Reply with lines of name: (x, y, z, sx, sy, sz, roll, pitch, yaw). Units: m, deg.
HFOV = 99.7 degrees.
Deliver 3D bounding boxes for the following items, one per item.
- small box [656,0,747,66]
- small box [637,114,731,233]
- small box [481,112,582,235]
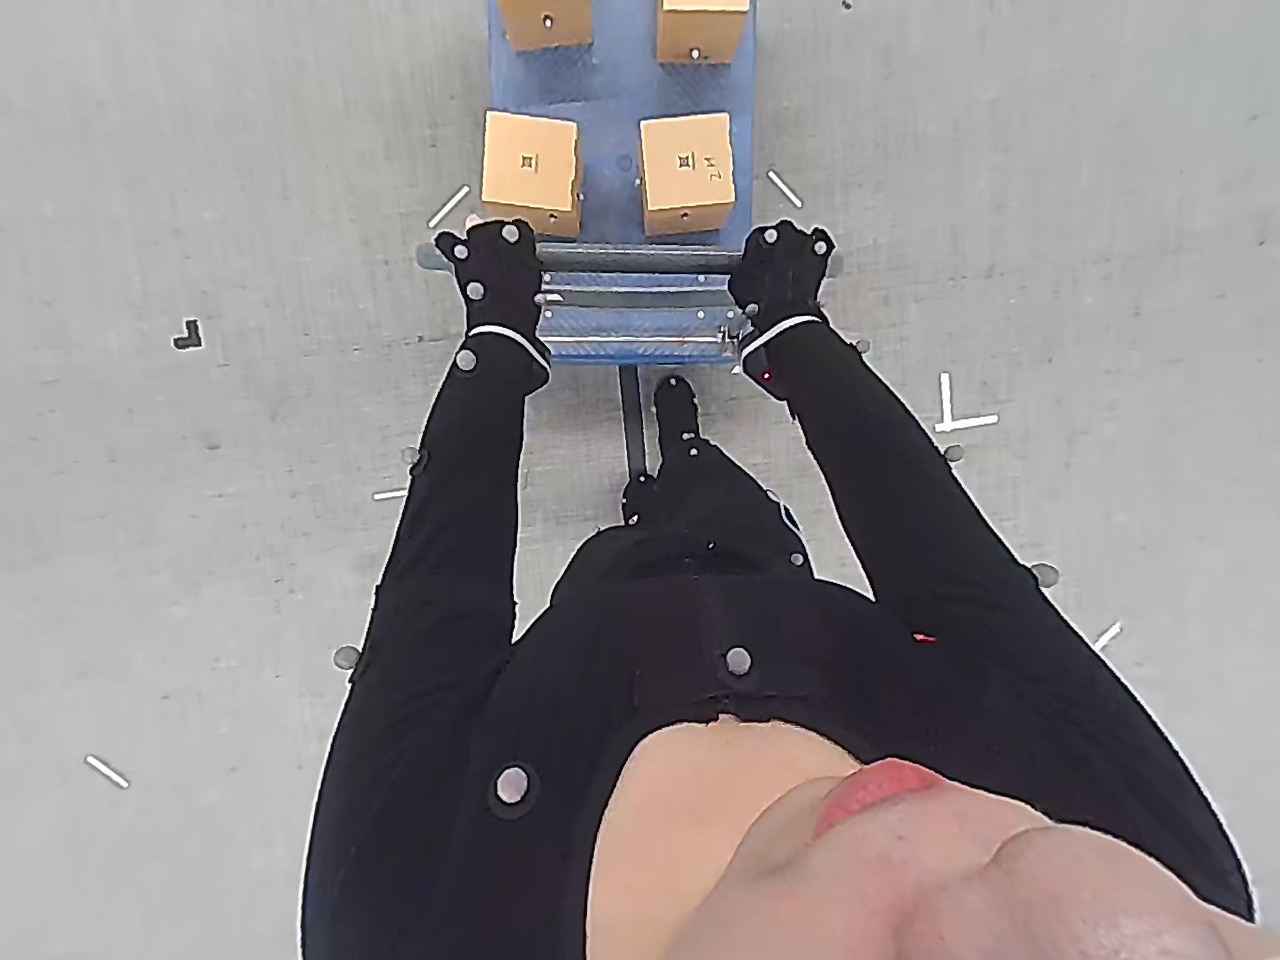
small box: (0.118, -0.981, 1.087, 0.168, 0.176, 0.179, -1, 99, -2)
small box: (0.087, -0.633, 1.136, 0.179, 0.176, 0.168, -6, 98, -1)
small box: (-0.219, -0.628, 1.128, 0.179, 0.176, 0.168, 5, 97, -4)
